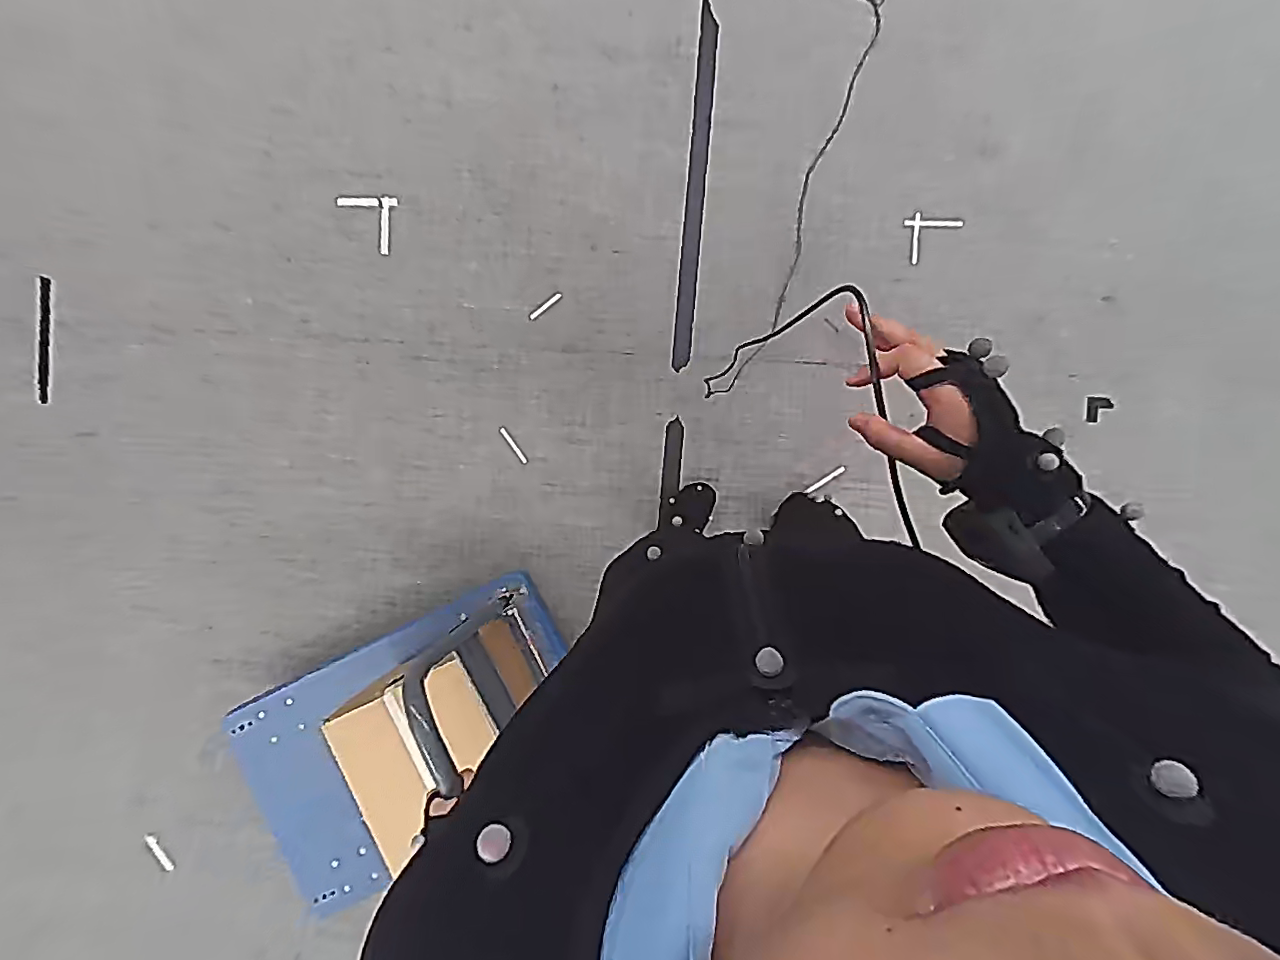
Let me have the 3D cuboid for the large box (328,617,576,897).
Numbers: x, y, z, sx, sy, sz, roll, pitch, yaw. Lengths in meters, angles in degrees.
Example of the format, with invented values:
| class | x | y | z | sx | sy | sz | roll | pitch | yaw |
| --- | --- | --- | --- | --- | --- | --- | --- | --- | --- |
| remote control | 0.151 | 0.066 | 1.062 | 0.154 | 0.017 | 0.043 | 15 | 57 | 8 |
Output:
| class | x | y | z | sx | sy | sz | roll | pitch | yaw |
| --- | --- | --- | --- | --- | --- | --- | --- | --- | --- |
| large box | -0.387 | 0.581 | 1.206 | 0.320 | 0.320 | 0.408 | -27 | 89 | 1 |
